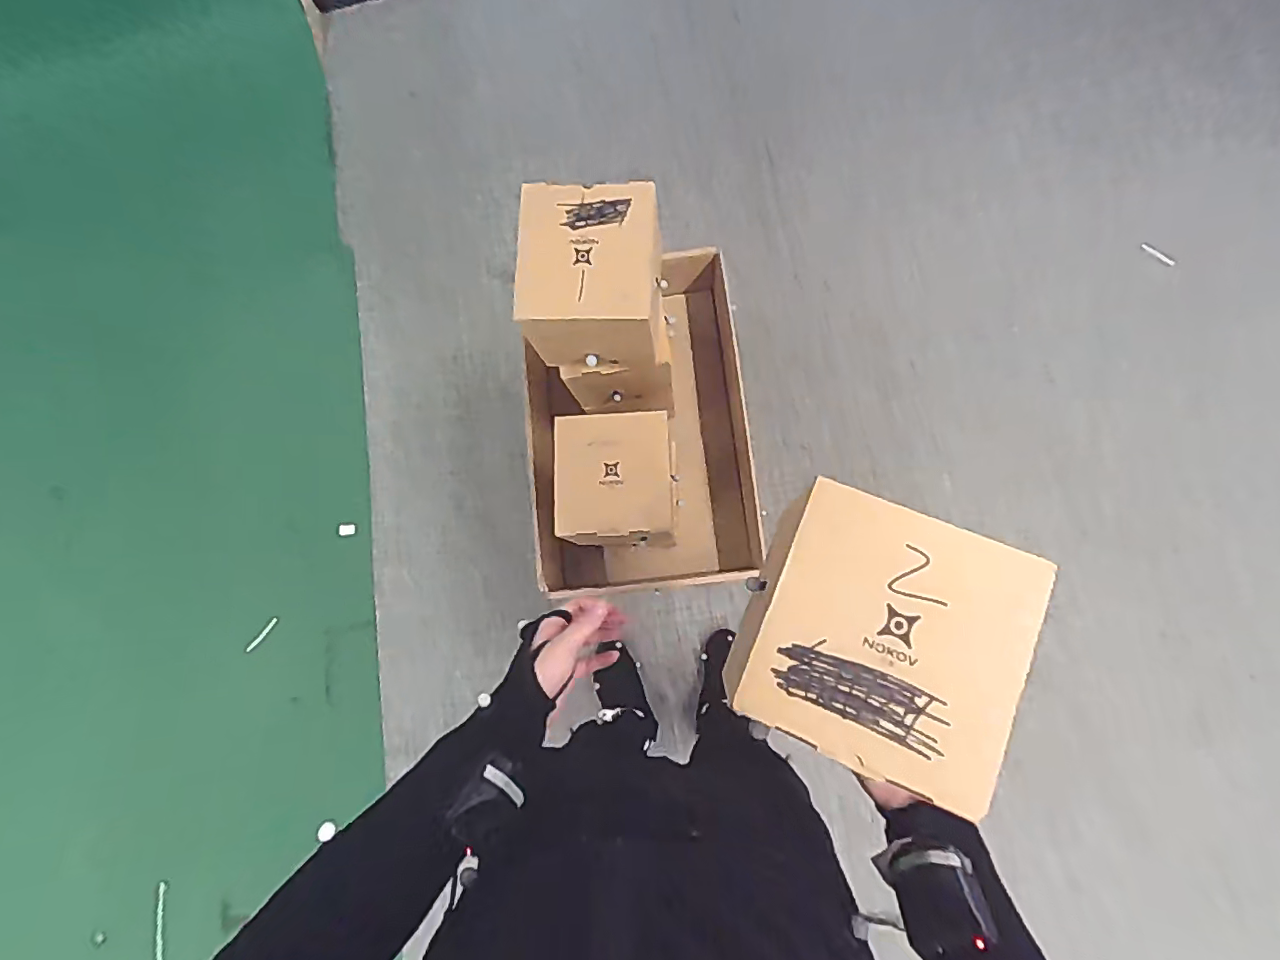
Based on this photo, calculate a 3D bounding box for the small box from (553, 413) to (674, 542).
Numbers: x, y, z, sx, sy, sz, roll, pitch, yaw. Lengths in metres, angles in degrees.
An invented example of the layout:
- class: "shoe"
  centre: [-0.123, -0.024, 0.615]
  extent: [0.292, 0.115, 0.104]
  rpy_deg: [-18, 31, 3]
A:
- class: "small box"
  centre: [-0.034, 0.006, 0.840]
  extent: [0.168, 0.176, 0.179]
  rpy_deg: [-2, 78, 5]

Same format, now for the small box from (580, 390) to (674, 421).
- class: "small box"
  centre: [-0.027, -0.209, 1.048]
  extent: [0.168, 0.176, 0.179]
  rpy_deg: [-8, 81, 5]

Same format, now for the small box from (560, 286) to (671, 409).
- class: "small box"
  centre: [-0.041, -0.232, 0.888]
  extent: [0.168, 0.176, 0.179]
  rpy_deg: [-8, 81, 4]

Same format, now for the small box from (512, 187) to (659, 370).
- class: "small box"
  centre: [-0.062, -0.261, 0.728]
  extent: [0.168, 0.176, 0.179]
  rpy_deg: [2, 82, 5]
